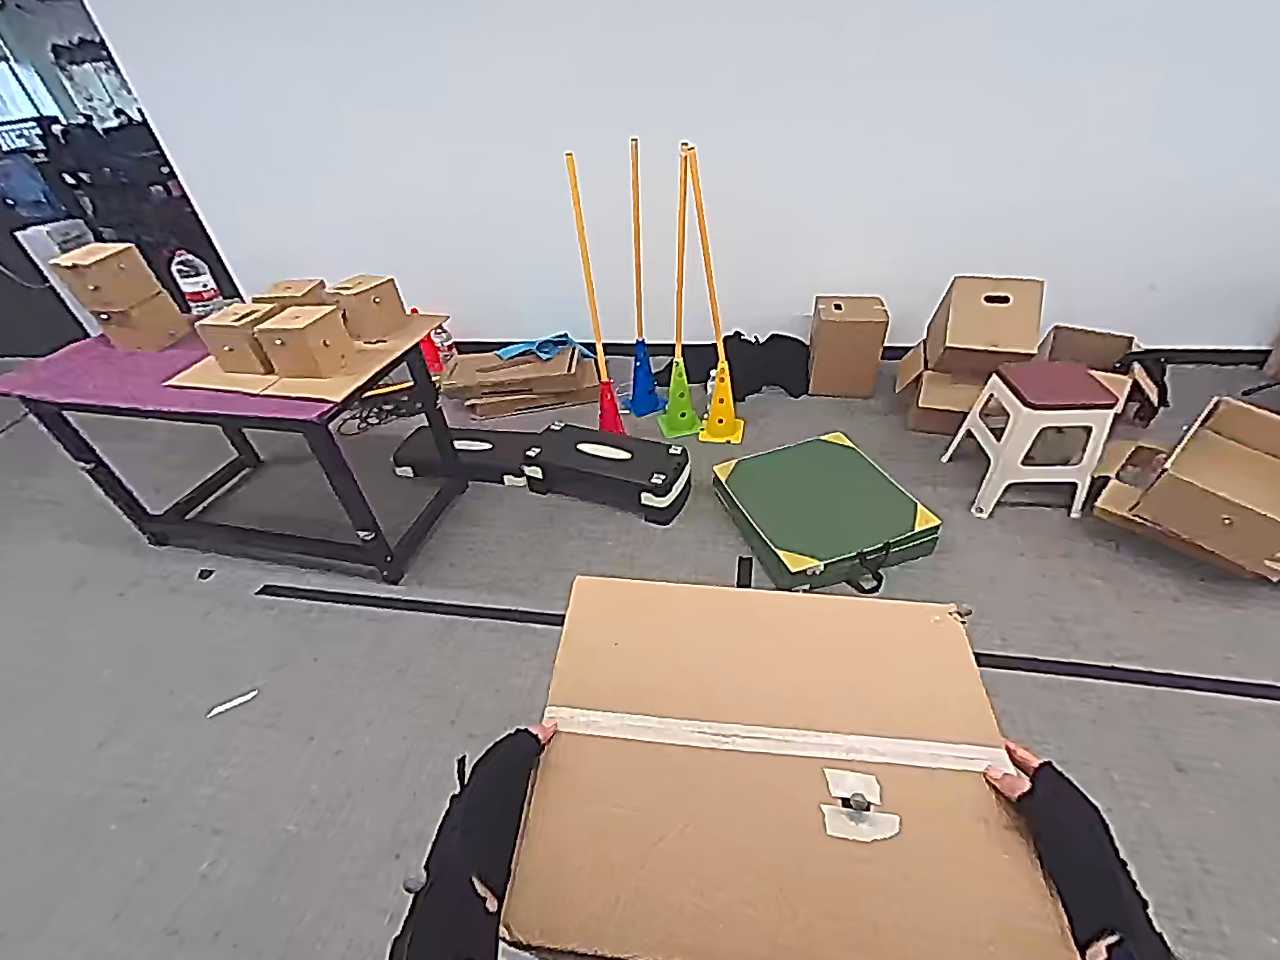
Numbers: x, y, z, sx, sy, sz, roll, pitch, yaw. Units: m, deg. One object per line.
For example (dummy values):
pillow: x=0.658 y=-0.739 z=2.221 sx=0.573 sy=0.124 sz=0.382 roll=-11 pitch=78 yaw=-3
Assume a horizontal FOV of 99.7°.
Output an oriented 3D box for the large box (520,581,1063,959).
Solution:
large box: x=0.119 y=0.337 z=0.601 sx=0.408 sy=0.320 sz=0.320 roll=4 pitch=47 yaw=5
